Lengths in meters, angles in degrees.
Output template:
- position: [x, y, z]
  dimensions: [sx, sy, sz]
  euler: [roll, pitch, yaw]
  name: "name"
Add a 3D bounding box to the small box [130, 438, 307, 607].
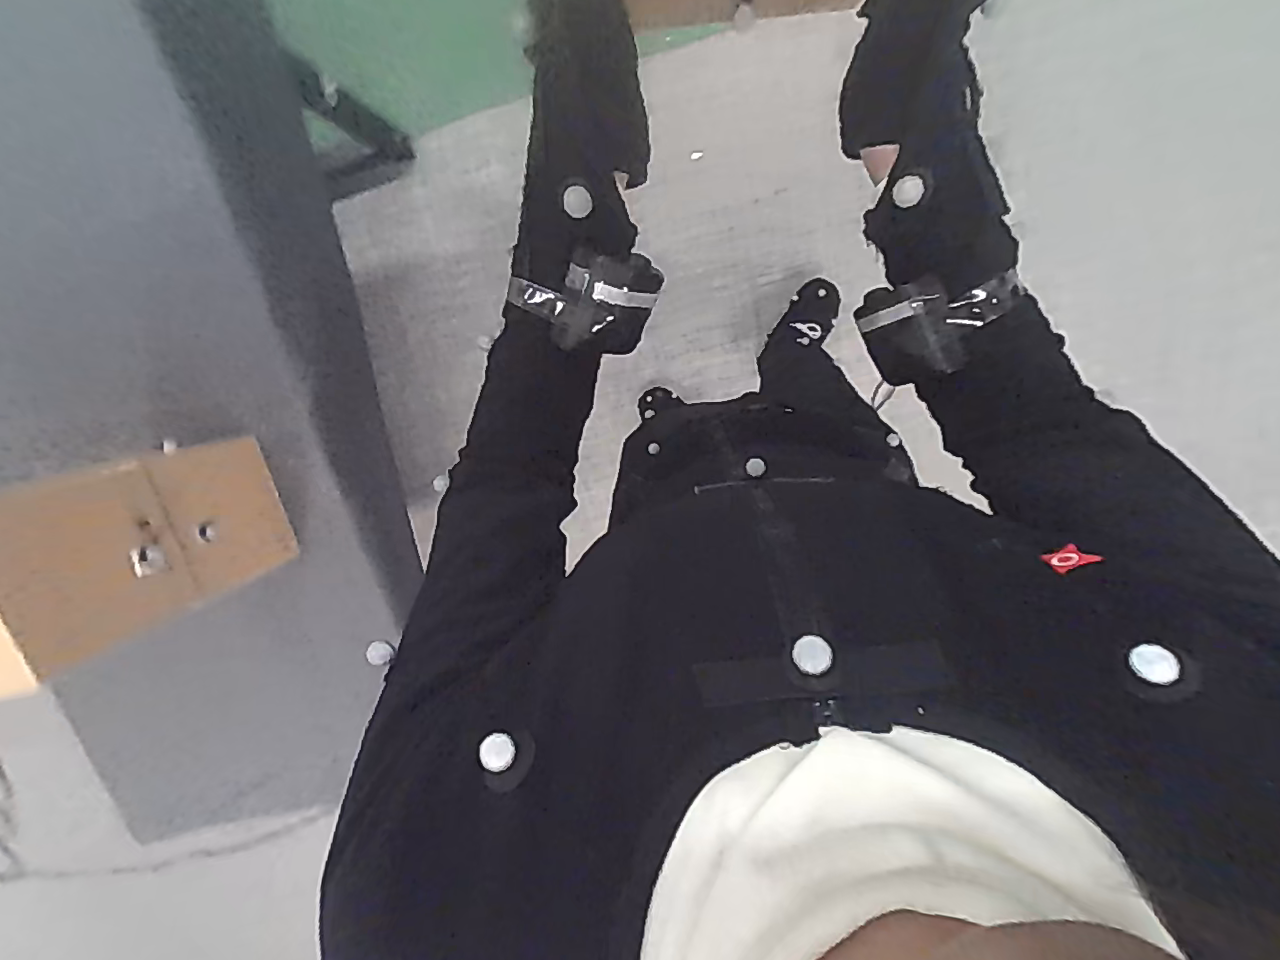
- position: [-0.582, 0.056, 0.708]
  dimensions: [0.168, 0.176, 0.179]
  euler: [-13, 102, 8]
  name: "small box"
